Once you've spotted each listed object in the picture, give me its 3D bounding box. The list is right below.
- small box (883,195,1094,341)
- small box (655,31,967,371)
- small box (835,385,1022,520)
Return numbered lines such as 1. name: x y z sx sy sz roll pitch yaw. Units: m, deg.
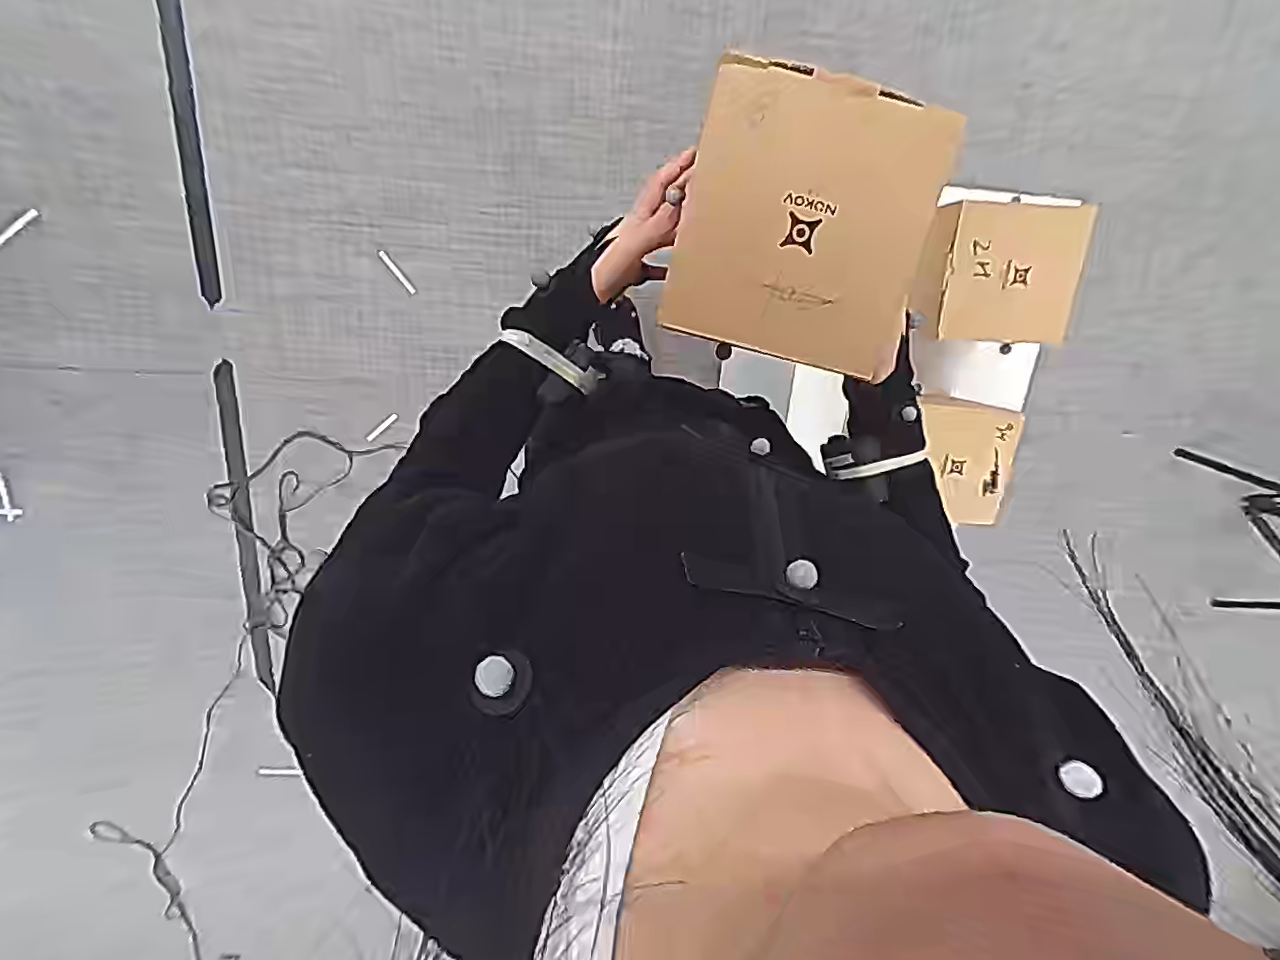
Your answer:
1. small box: 0.460 -0.286 0.753 0.179 0.176 0.168 1 107 -4
2. small box: 0.111 -0.202 0.439 0.168 0.176 0.179 15 108 -2
3. small box: 0.422 -0.049 0.825 0.179 0.176 0.168 5 106 -4
